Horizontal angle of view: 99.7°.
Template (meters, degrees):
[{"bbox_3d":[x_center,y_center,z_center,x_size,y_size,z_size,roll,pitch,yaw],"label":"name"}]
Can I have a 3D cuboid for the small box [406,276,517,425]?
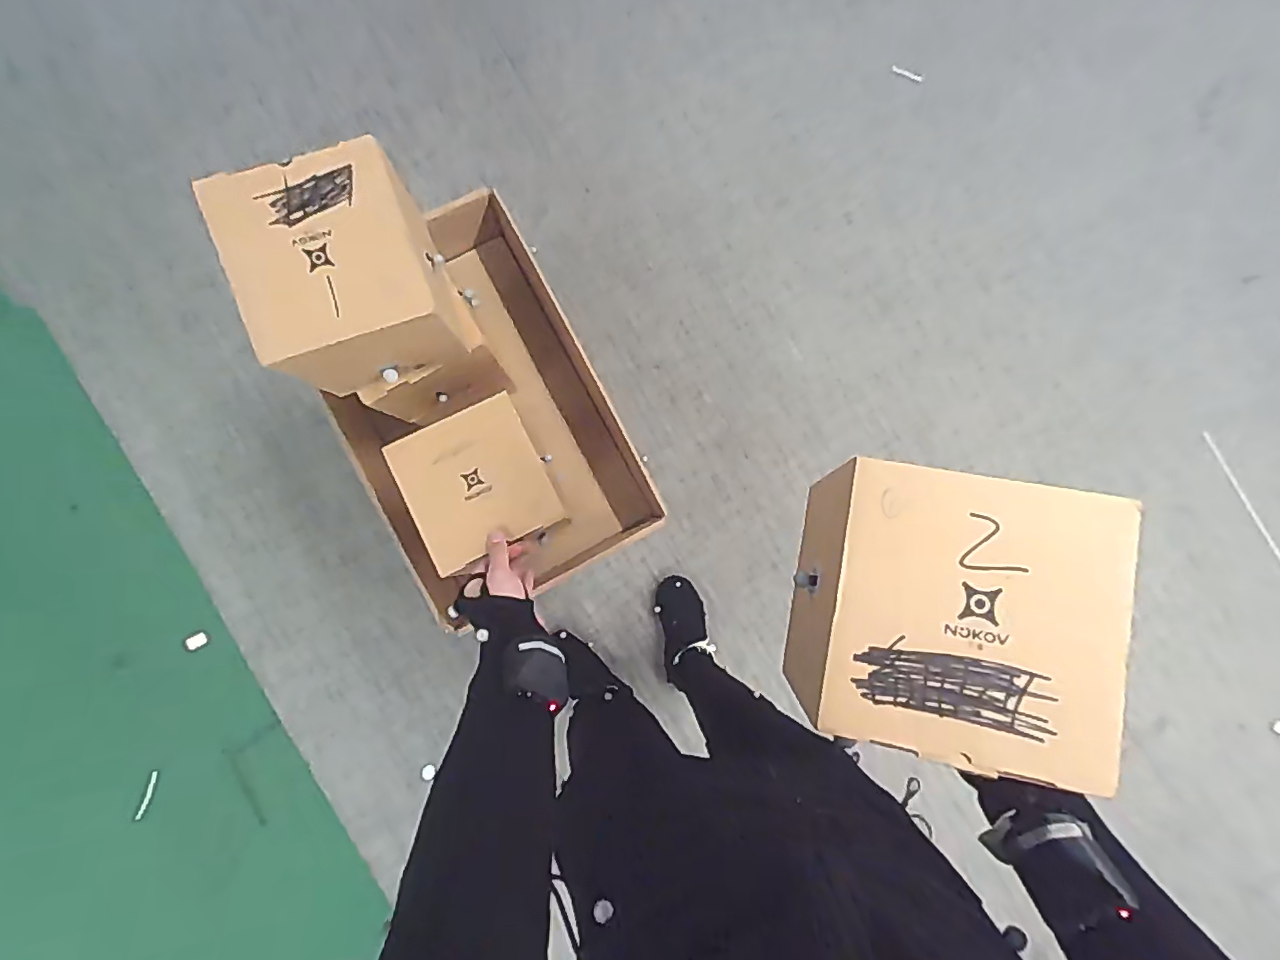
[{"bbox_3d":[-0.326,-0.200,0.906,0.168,0.176,0.179,-29,91,-5],"label":"small box"}]

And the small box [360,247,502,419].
[{"bbox_3d":[-0.311,-0.203,0.744,0.168,0.176,0.179,-29,92,-6],"label":"small box"}]

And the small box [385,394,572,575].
[{"bbox_3d":[-0.203,0.012,0.730,0.168,0.176,0.179,-25,83,-6],"label":"small box"}]

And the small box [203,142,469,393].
[{"bbox_3d":[-0.303,-0.210,0.580,0.168,0.176,0.179,-20,91,-5],"label":"small box"}]
